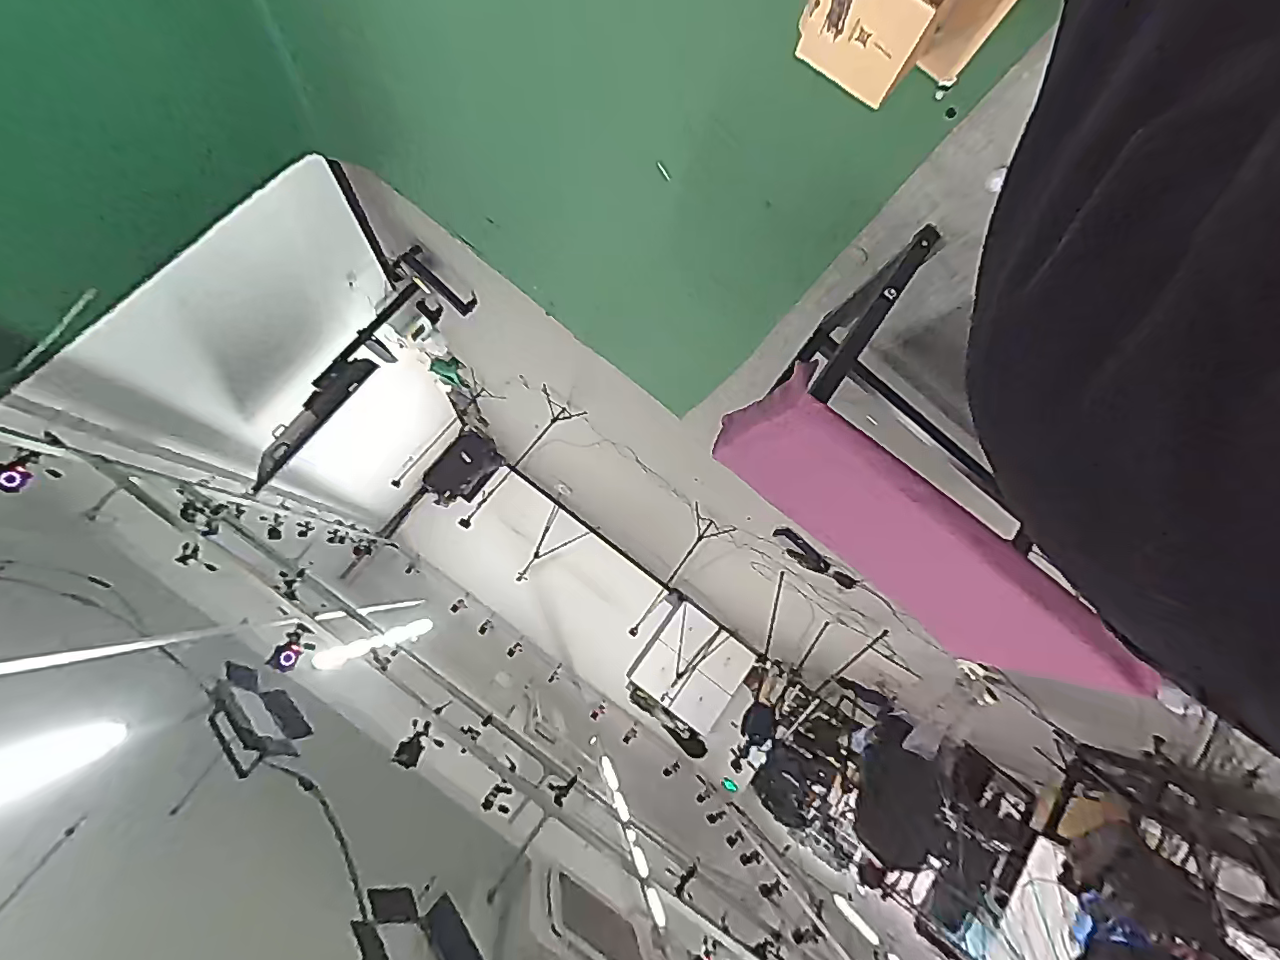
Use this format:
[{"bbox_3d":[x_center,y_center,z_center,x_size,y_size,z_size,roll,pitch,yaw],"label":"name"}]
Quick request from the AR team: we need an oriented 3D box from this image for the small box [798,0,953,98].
[{"bbox_3d":[0.396,-0.780,0.867,0.179,0.176,0.168,37,166,2],"label":"small box"}]
